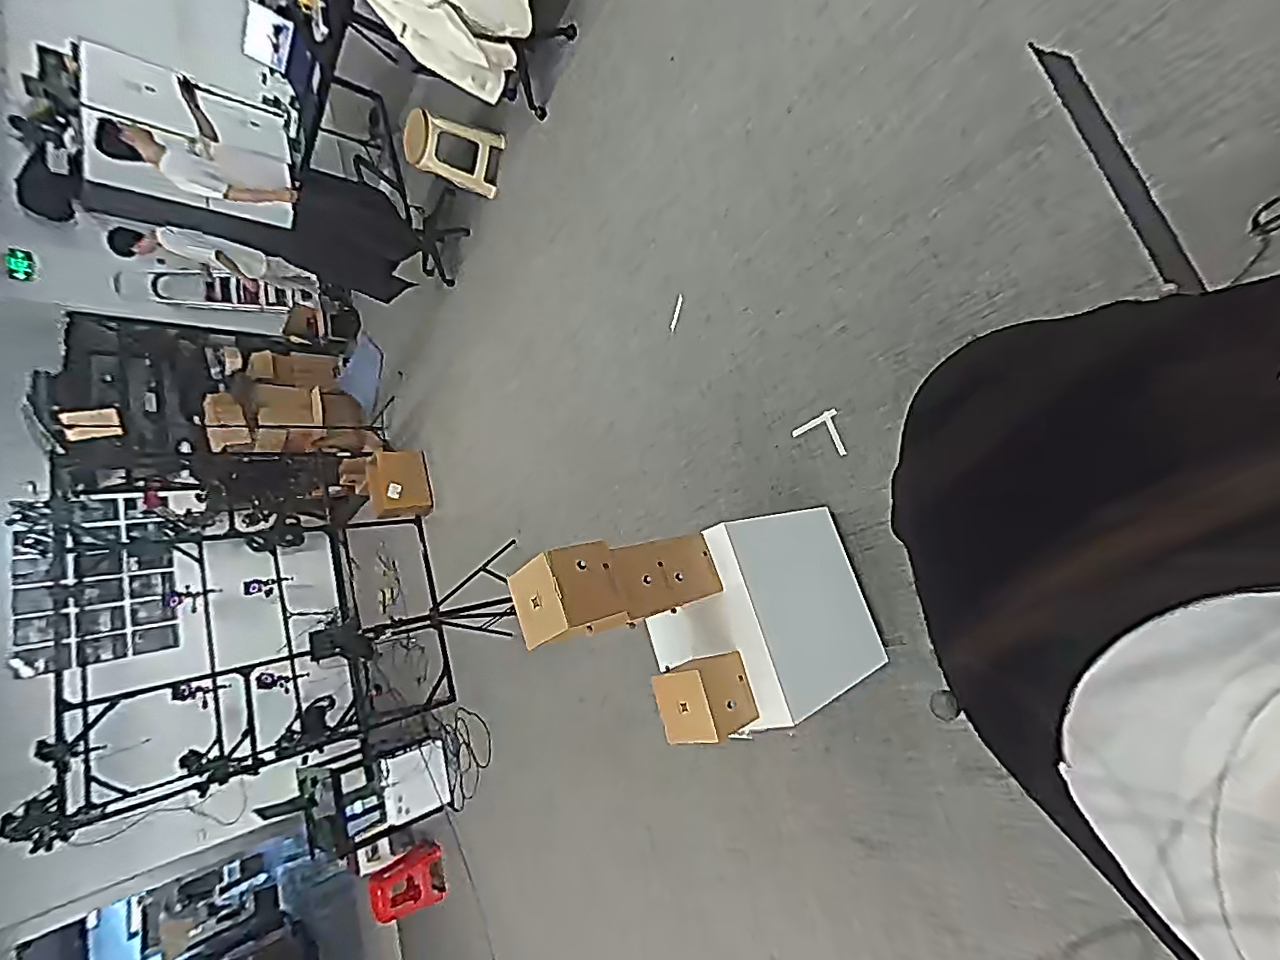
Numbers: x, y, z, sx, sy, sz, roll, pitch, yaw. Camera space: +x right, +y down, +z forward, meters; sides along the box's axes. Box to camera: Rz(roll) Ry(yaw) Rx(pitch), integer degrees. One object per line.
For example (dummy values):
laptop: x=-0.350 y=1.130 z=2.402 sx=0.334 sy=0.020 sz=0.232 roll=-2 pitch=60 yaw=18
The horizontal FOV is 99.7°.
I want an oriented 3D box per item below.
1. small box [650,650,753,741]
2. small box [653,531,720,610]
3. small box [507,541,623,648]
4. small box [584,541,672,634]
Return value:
small box: x=0.160 y=0.534 z=1.349 sx=0.179 sy=0.176 sz=0.168 roll=-30 pitch=71 yaw=44
small box: x=0.076 y=0.244 z=1.411 sx=0.179 sy=0.176 sz=0.168 roll=-33 pitch=71 yaw=43
small box: x=-0.158 y=0.246 z=1.180 sx=0.179 sy=0.176 sz=0.168 roll=-39 pitch=66 yaw=41
small box: x=-0.044 y=0.254 z=1.297 sx=0.179 sy=0.176 sz=0.168 roll=-32 pitch=71 yaw=43
